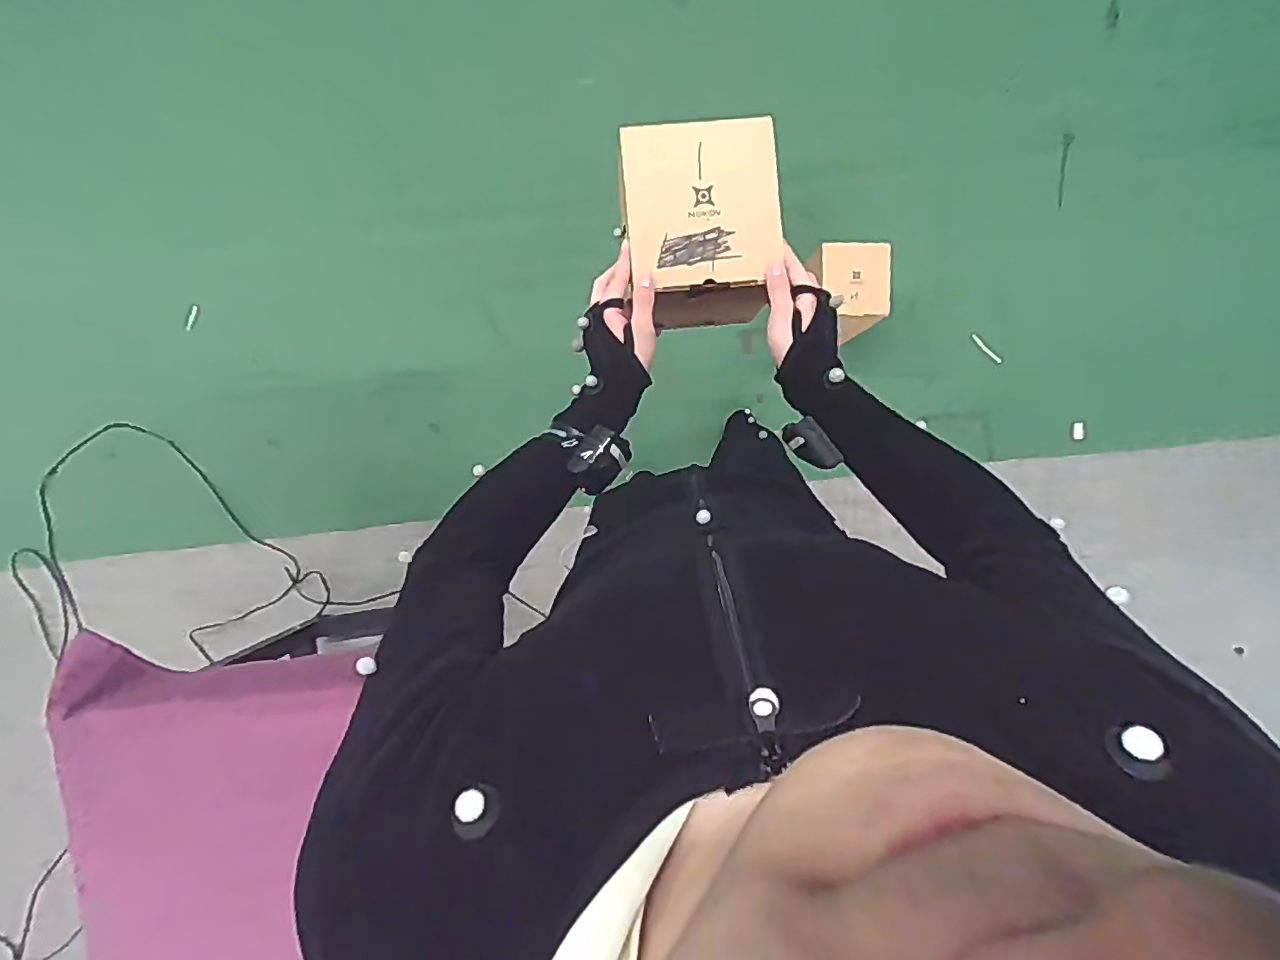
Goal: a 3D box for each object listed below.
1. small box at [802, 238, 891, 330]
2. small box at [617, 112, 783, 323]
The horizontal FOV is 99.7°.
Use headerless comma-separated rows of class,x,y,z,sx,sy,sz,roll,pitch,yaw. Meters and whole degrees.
small box,0.516,-0.492,1.371,0.168,0.176,0.179,1,92,0
small box,0.063,-0.296,0.650,0.168,0.176,0.179,-5,90,-2
